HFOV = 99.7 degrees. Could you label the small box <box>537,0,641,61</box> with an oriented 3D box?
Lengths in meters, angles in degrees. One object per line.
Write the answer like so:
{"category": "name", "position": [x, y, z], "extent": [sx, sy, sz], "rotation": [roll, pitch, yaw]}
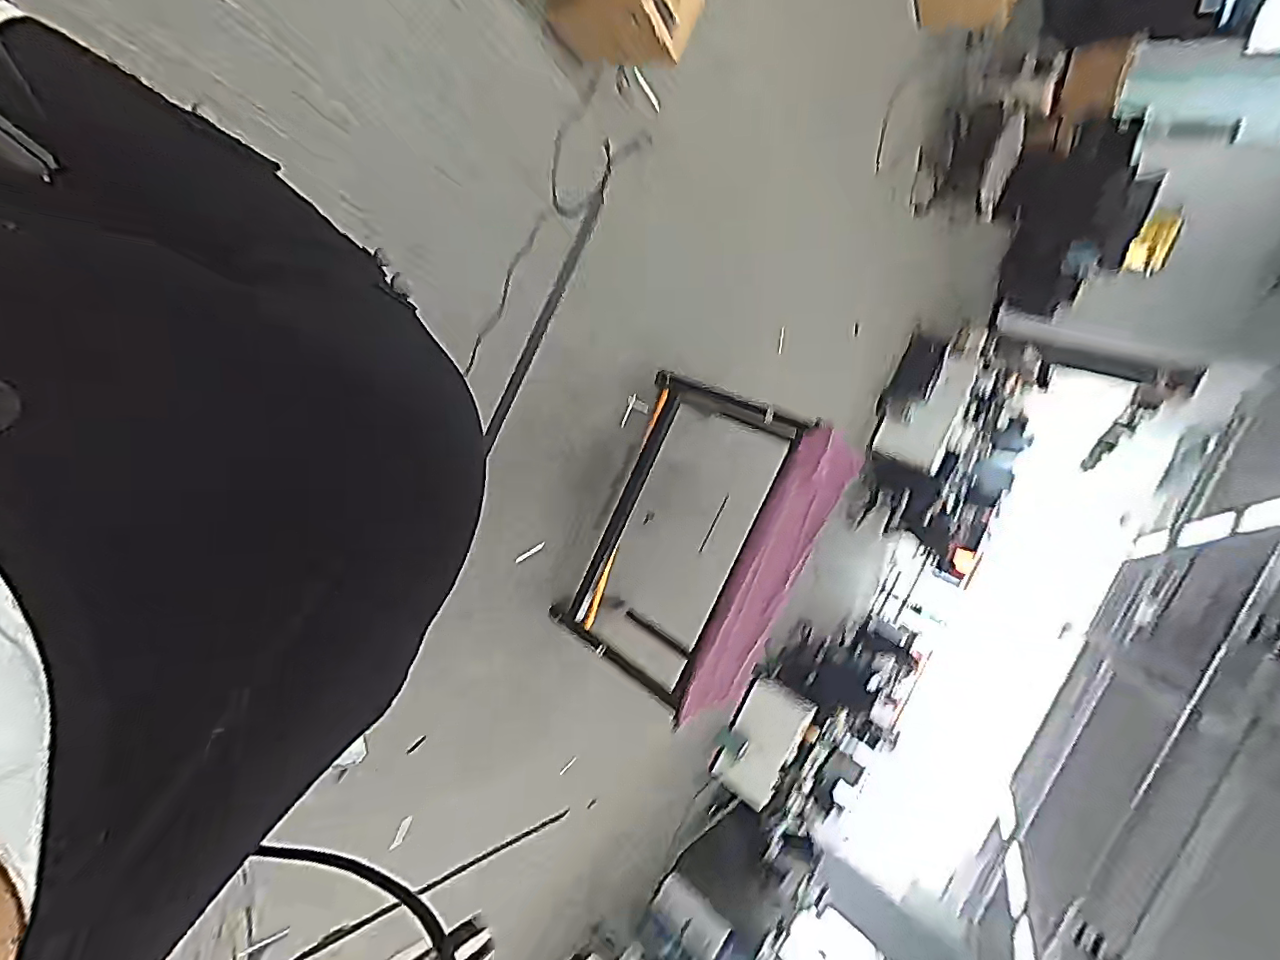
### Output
{"category": "small box", "position": [-0.130, -1.208, 1.366], "extent": [0.168, 0.176, 0.179], "rotation": [16, 100, -57]}
